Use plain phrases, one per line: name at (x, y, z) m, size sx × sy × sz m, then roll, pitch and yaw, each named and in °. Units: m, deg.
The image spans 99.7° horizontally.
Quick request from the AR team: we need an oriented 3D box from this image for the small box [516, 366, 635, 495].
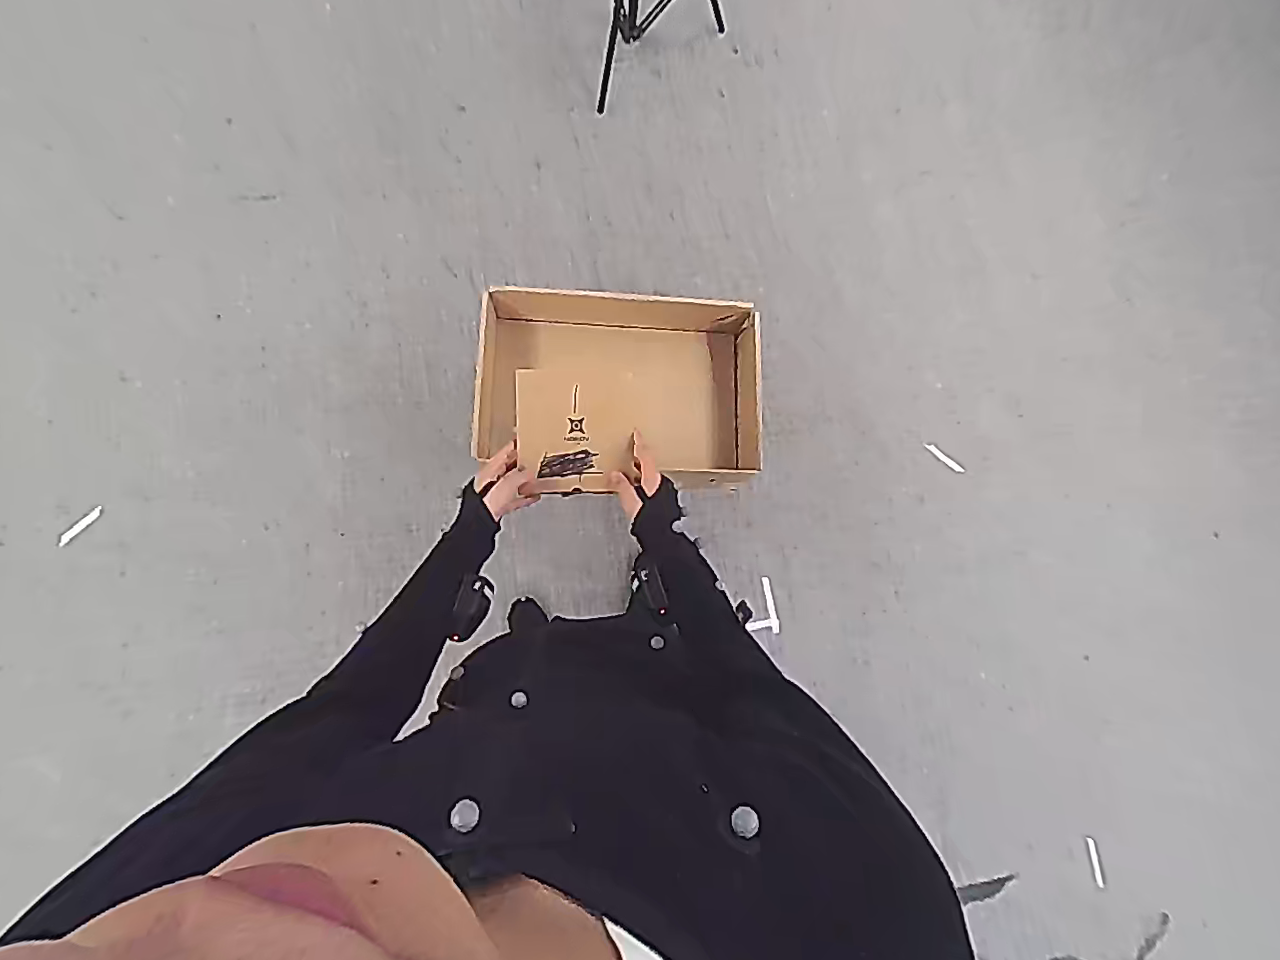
small box at (-0.093, -0.071, 0.822) m, size 0.168 × 0.176 × 0.179 m, roll -1°, pitch 91°, yaw -5°
